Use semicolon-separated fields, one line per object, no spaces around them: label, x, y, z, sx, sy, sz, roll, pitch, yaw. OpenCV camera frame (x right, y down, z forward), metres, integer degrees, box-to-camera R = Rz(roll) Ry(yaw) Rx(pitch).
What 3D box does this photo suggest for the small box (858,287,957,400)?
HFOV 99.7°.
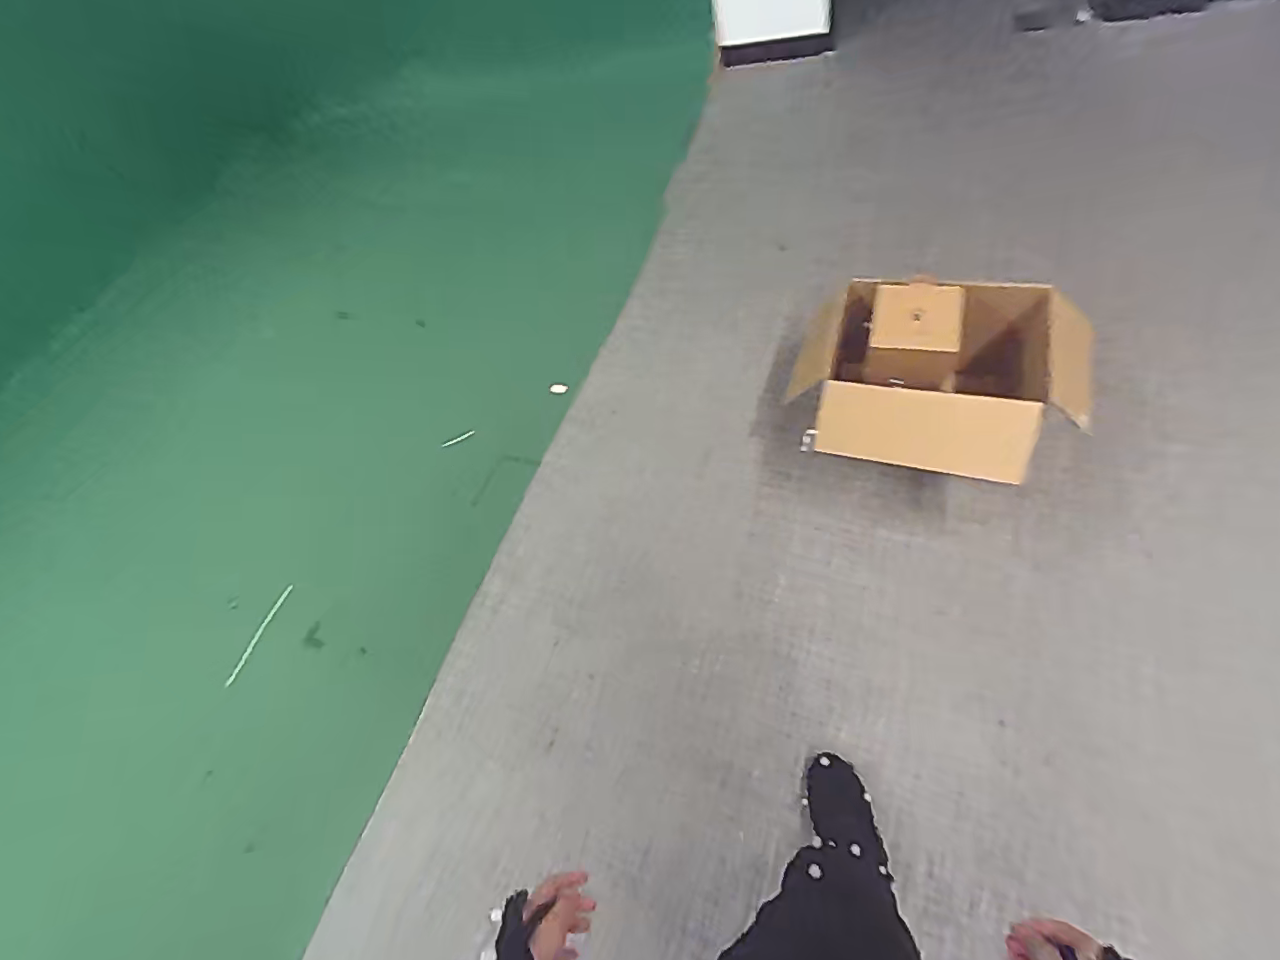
small box;0.588;-0.302;1.204;0.168;0.176;0.179;9;67;20
